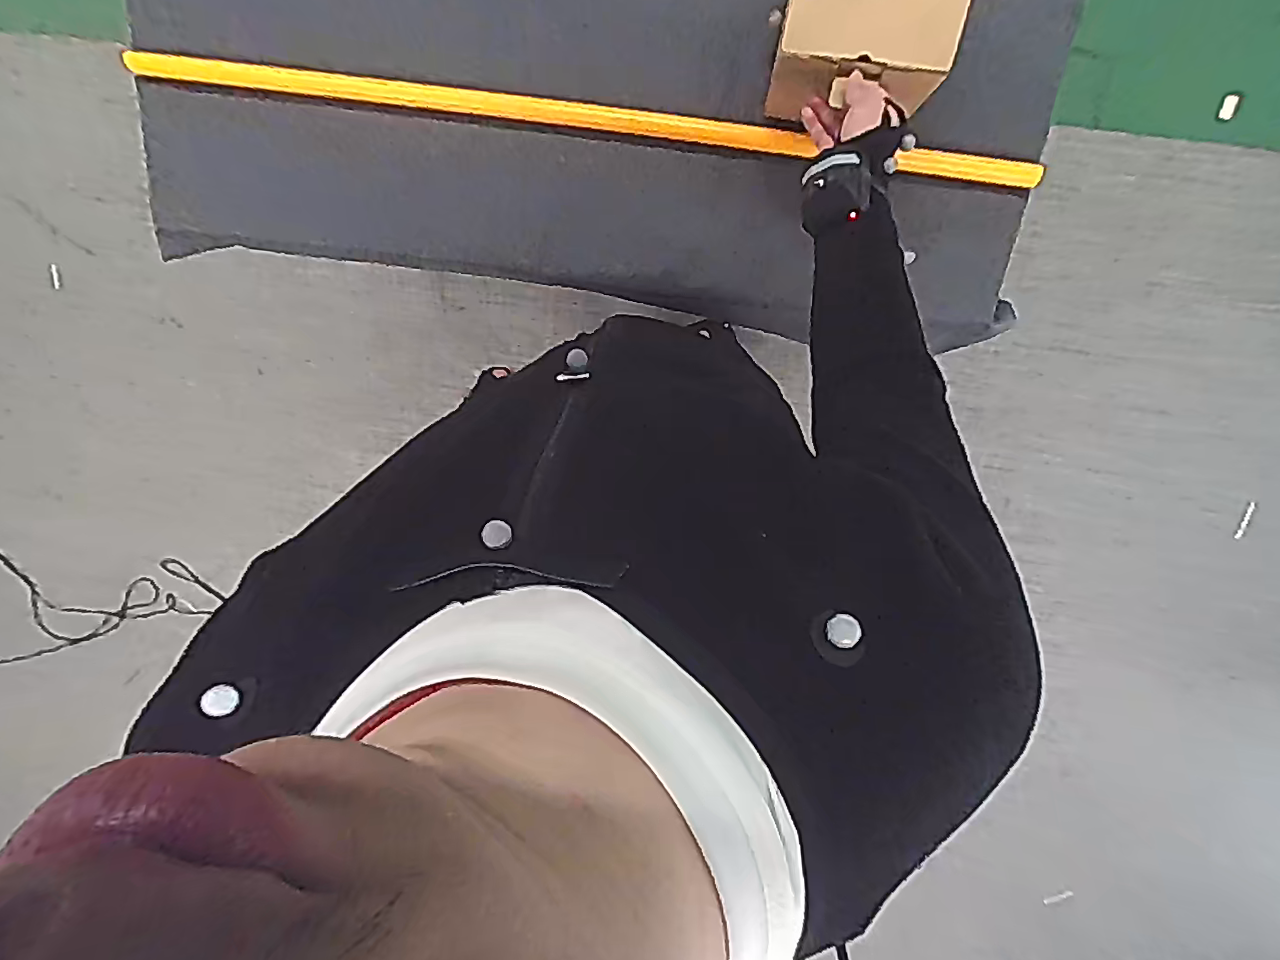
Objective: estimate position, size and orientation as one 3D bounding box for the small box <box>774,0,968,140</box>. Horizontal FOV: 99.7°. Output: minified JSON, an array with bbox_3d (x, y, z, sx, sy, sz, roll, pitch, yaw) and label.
[{"bbox_3d":[0.246,-0.499,0.593,0.168,0.176,0.179,9,105,7],"label":"small box"}]
